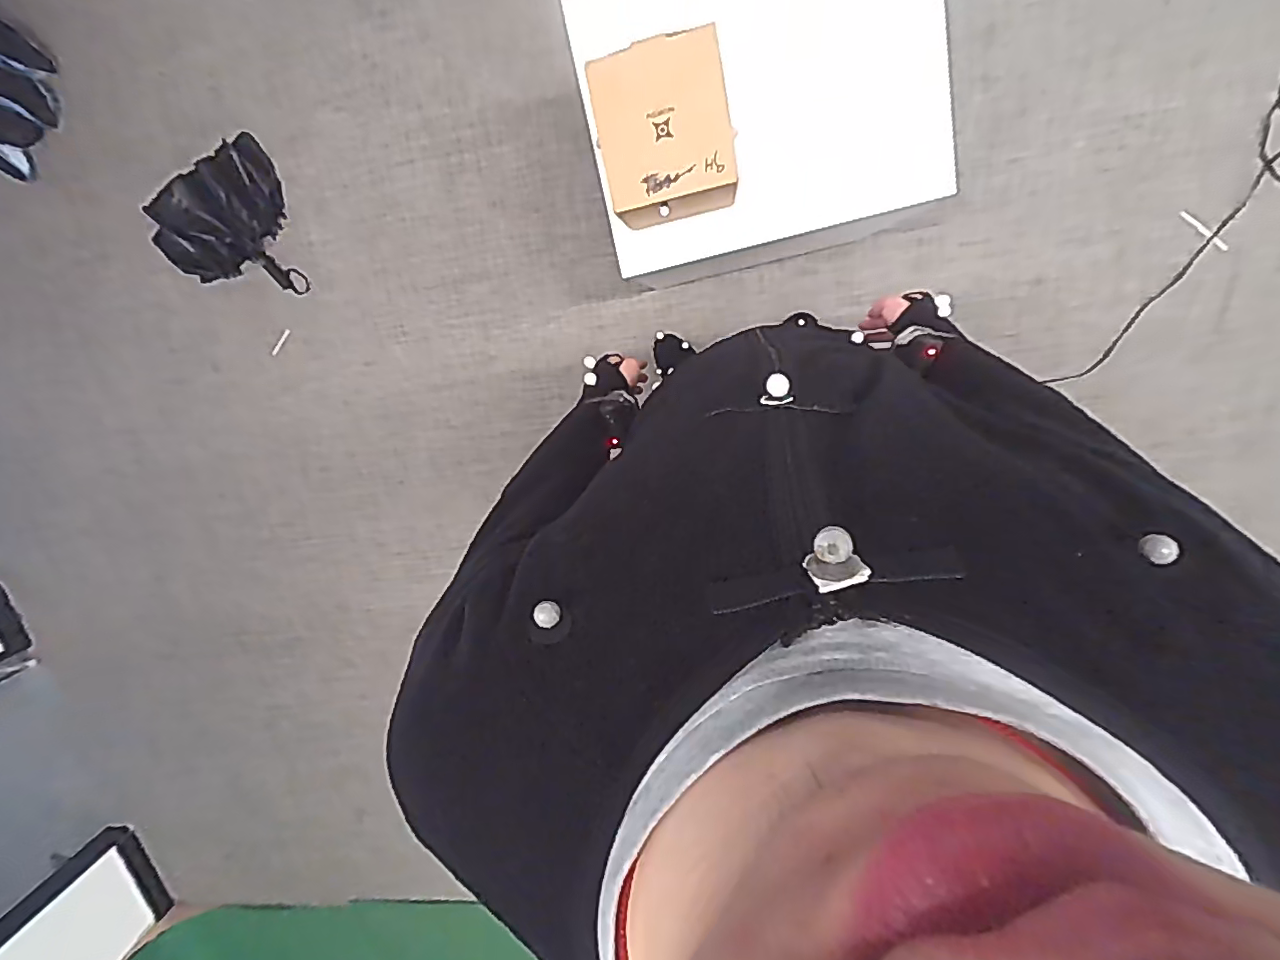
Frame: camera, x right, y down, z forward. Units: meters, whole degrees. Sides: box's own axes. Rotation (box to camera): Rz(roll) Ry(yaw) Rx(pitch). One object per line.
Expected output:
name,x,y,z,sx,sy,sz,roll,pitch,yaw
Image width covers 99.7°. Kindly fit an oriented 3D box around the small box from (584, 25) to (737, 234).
small box,0.035,-0.462,0.745,0.168,0.176,0.179,-10,104,10
